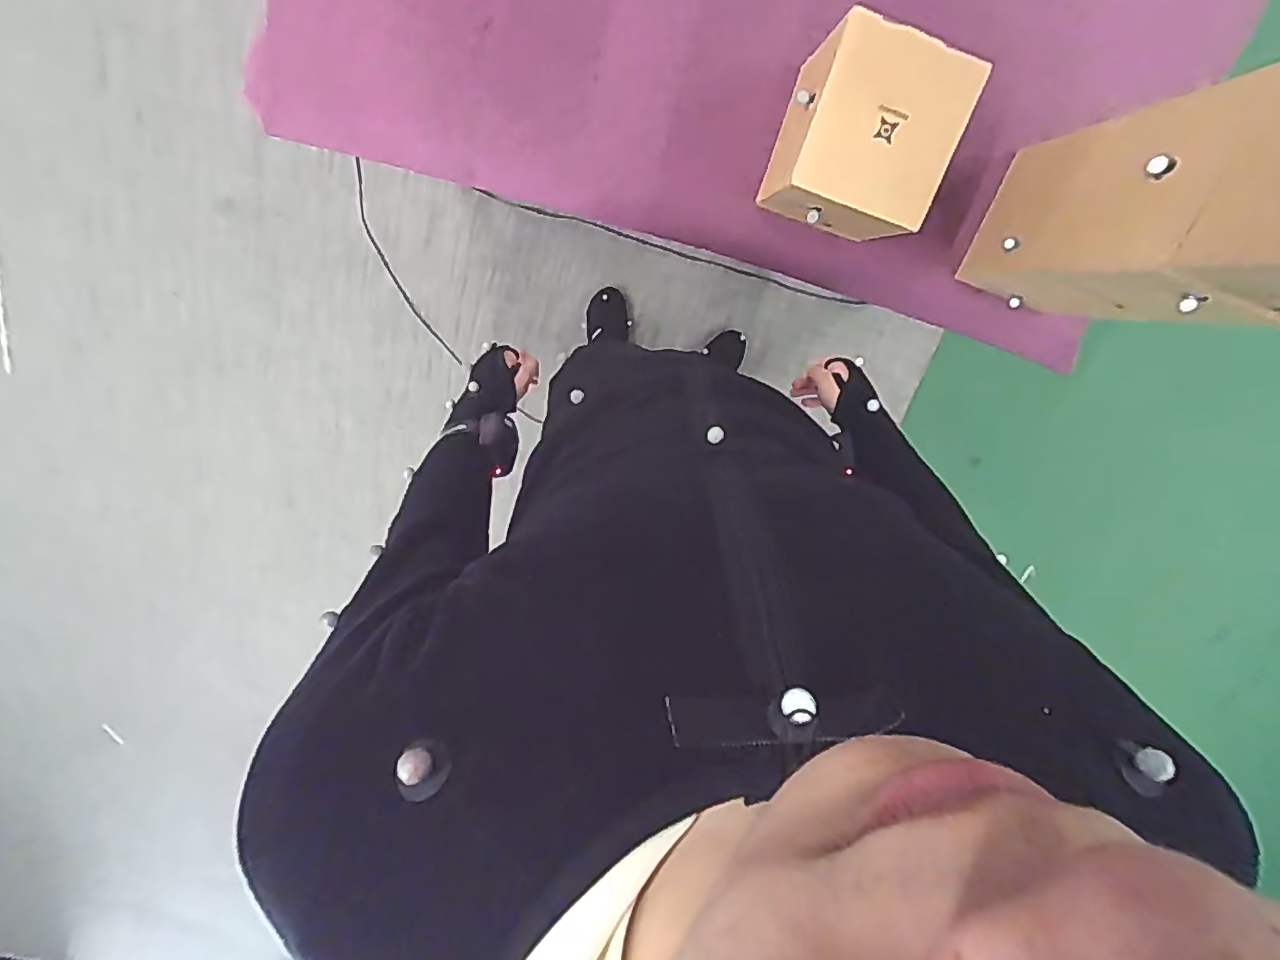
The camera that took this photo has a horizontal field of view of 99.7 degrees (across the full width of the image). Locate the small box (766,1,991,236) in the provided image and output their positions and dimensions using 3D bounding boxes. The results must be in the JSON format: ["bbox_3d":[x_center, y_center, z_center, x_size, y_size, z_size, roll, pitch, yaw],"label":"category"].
[{"bbox_3d":[0.269,-0.417,0.665,0.168,0.176,0.179,16,108,-7],"label":"small box"}]

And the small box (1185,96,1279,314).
[{"bbox_3d":[0.579,-0.218,0.392,0.168,0.176,0.179,17,109,-6],"label":"small box"}]

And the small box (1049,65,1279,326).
[{"bbox_3d":[0.576,-0.271,0.548,0.168,0.176,0.179,18,108,-6],"label":"small box"}]
